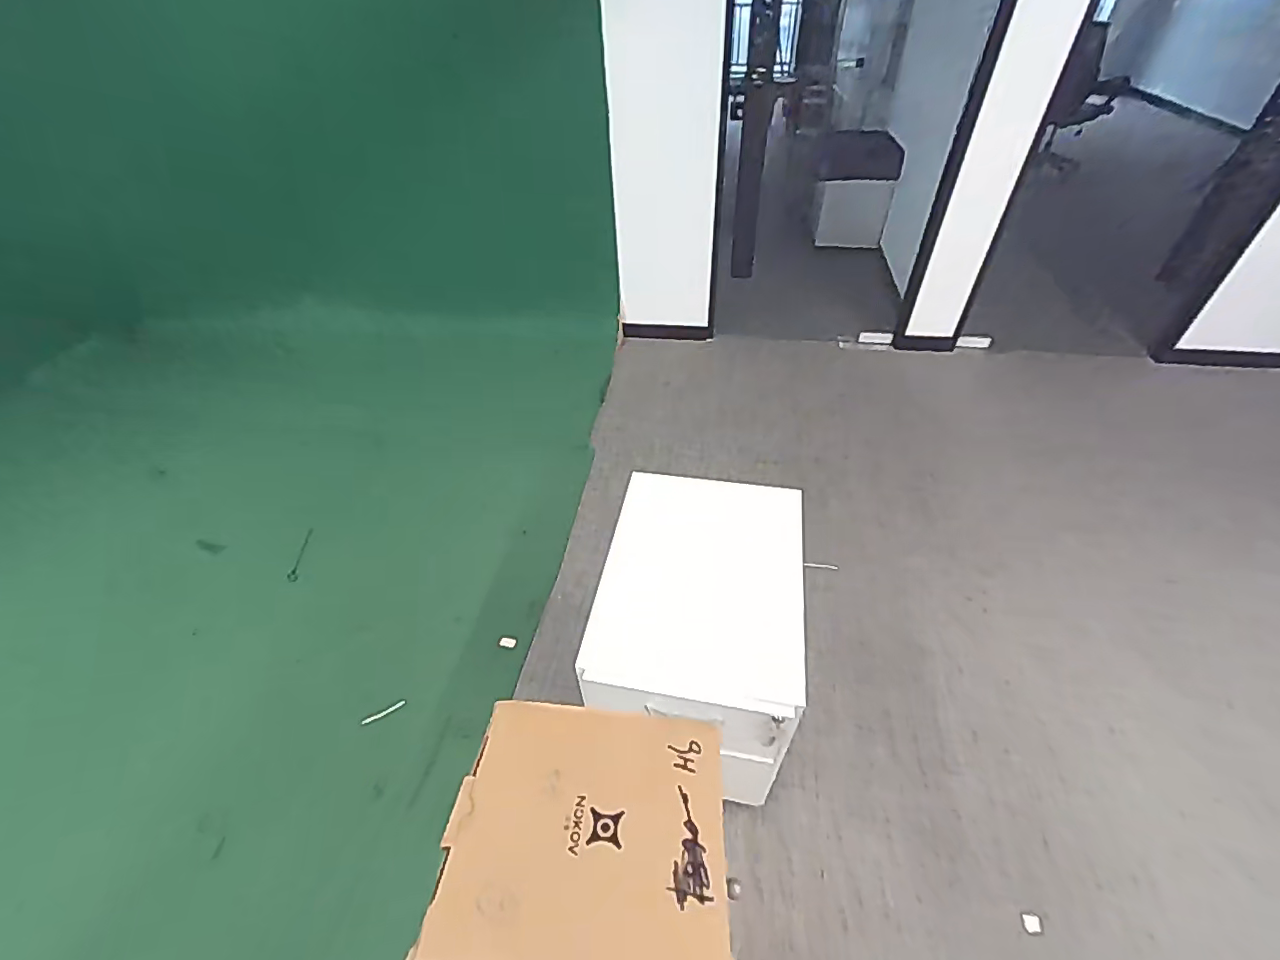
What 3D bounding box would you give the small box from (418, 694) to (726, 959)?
[{"bbox_3d":[-0.038,0.290,0.406,0.179,0.176,0.168,7,34,1],"label":"small box"}]
